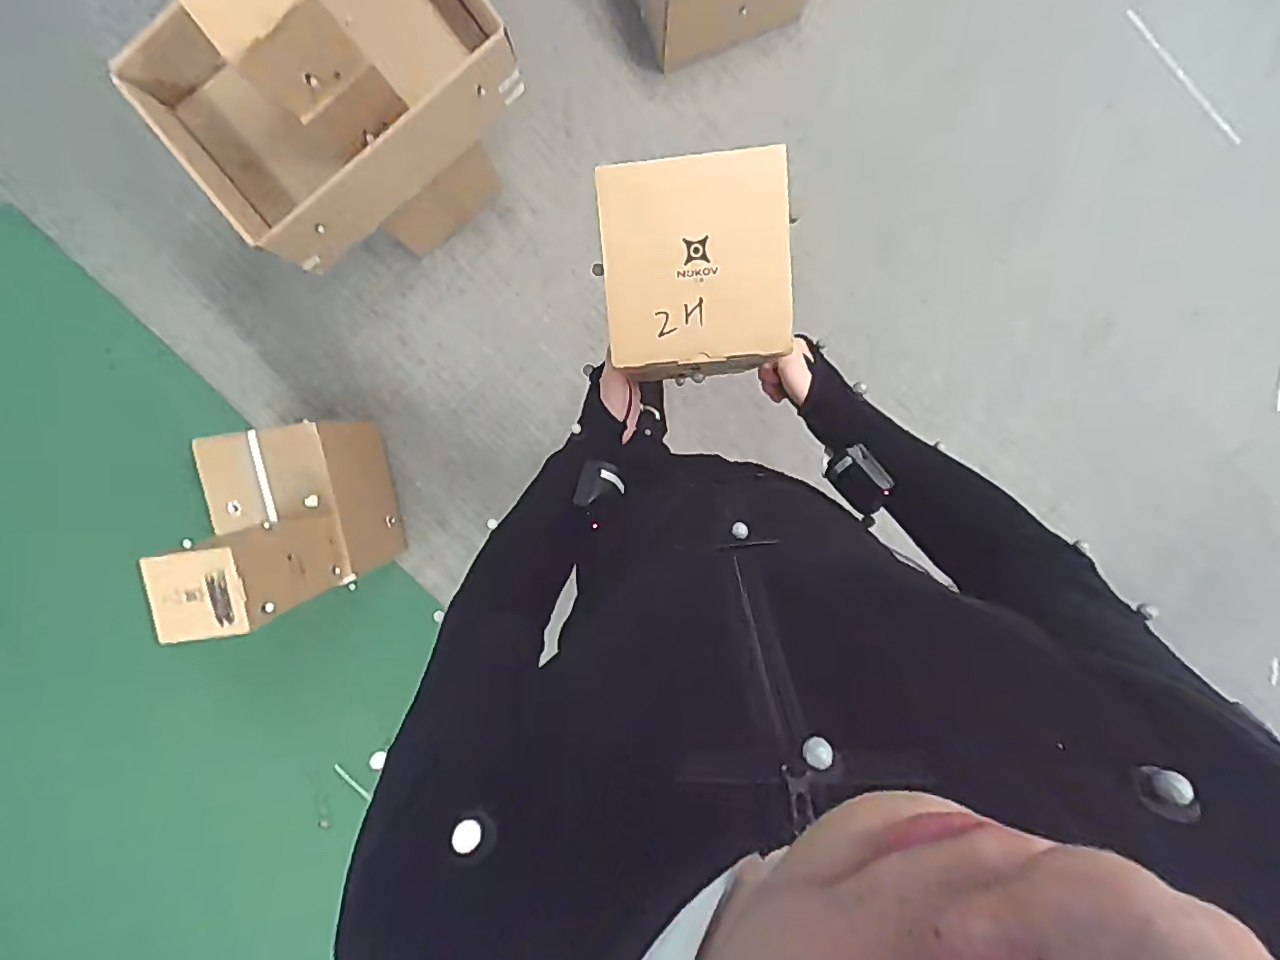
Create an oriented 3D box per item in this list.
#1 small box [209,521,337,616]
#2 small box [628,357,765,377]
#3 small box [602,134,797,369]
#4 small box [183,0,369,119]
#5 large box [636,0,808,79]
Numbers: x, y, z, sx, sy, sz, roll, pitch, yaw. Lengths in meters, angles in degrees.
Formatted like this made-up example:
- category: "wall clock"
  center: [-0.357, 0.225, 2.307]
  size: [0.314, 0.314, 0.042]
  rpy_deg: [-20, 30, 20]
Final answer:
- category: "small box"
  center: [-0.815, 0.194, 1.225]
  size: [0.179, 0.176, 0.168]
  rpy_deg: [-6, 96, 1]
- category: "small box"
  center: [0.067, -0.232, 0.714]
  size: [0.168, 0.176, 0.179]
  rpy_deg: [-4, 99, 5]
- category: "small box"
  center: [0.057, -0.212, 0.548]
  size: [0.168, 0.176, 0.179]
  rpy_deg: [-4, 99, 5]
- category: "small box"
  center: [-0.577, -0.726, 0.850]
  size: [0.168, 0.176, 0.179]
  rpy_deg: [-37, 97, 5]
- category: "large box"
  center: [0.196, -1.280, 1.299]
  size: [0.408, 0.320, 0.320]
  rpy_deg: [-21, 96, 3]
